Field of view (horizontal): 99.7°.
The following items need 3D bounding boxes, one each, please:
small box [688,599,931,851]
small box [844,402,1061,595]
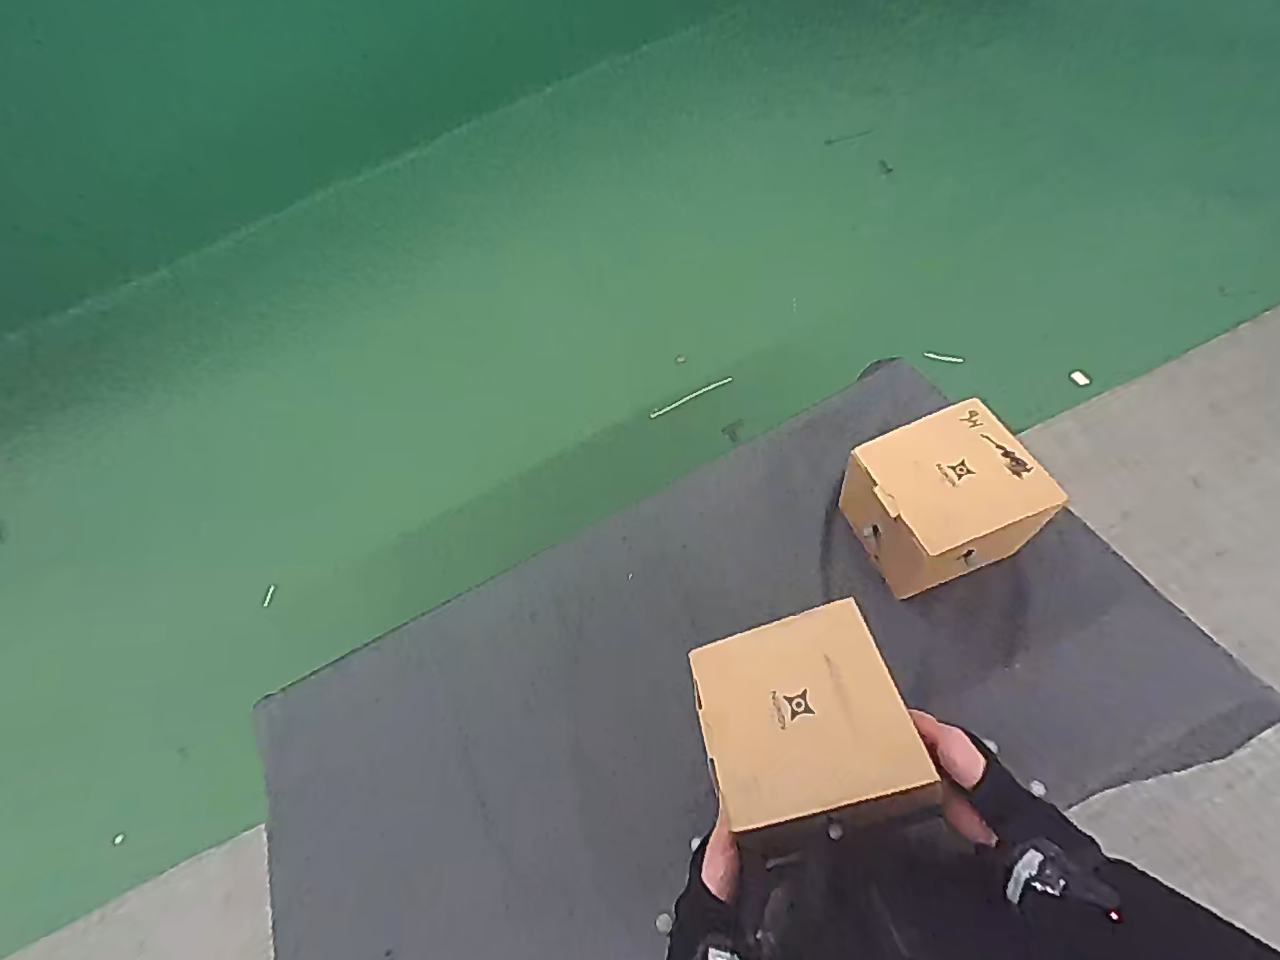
[{"bbox_3d":[0.169,0.252,0.542,0.179,0.176,0.168,-22,46,11],"label":"small box"},{"bbox_3d":[0.389,0.033,0.719,0.179,0.176,0.168,-22,59,1],"label":"small box"}]
